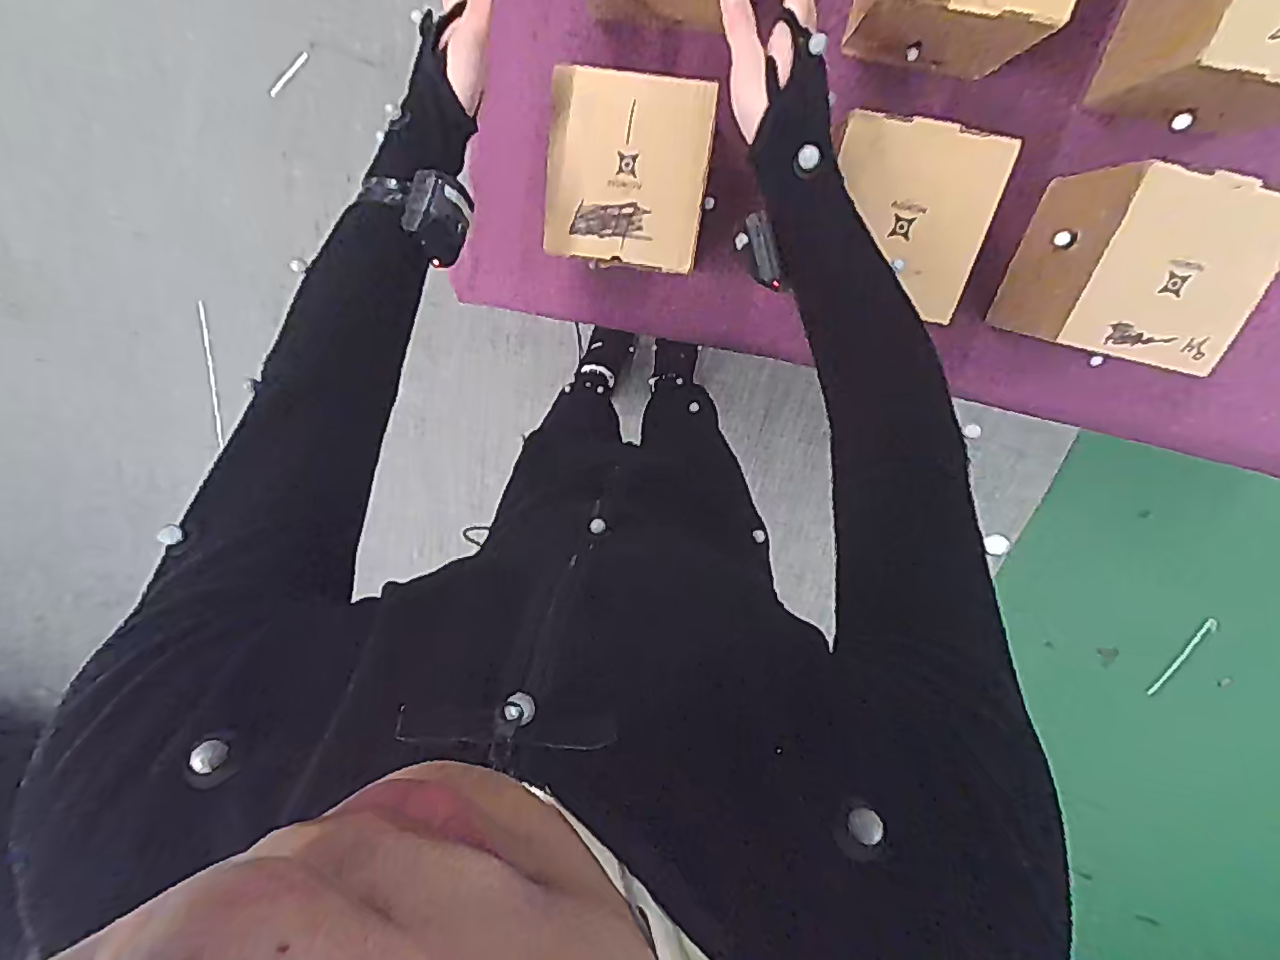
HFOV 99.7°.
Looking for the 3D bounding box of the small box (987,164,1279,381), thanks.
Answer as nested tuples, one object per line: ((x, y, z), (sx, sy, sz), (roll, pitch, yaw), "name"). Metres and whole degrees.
((0.539, -0.231, 0.613), (0.168, 0.176, 0.179), (14, 113, 2), "small box")

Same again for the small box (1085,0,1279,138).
((0.584, -0.452, 0.511), (0.168, 0.176, 0.179), (14, 115, 2), "small box")

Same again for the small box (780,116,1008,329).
((0.269, -0.289, 0.627), (0.168, 0.176, 0.179), (13, 114, 3), "small box")

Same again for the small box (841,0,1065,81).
((0.312, -0.523, 0.521), (0.168, 0.176, 0.179), (12, 115, 2), "small box")

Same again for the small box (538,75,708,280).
((-0.013, -0.341, 0.640), (0.168, 0.176, 0.179), (9, 112, 3), "small box")
